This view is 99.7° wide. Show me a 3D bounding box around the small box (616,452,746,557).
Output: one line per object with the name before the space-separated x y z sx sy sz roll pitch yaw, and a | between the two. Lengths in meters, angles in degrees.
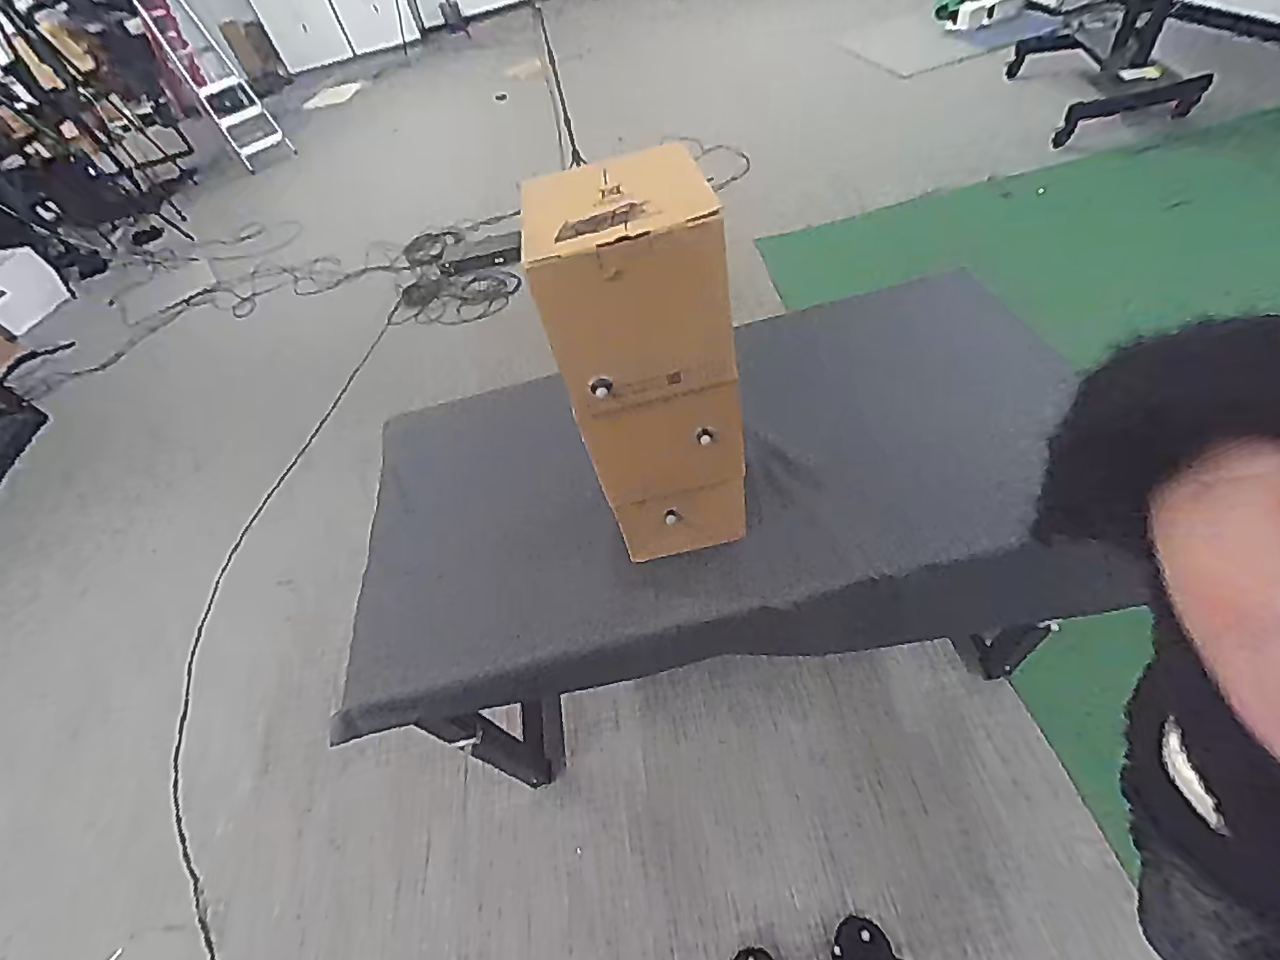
small box | 0.051 -0.007 0.808 0.179 0.176 0.168 -15 49 1

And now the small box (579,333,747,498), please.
small box | 0.022 -0.104 0.657 0.179 0.176 0.168 -15 50 0

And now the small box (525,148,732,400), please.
small box | -0.009 -0.196 0.544 0.168 0.176 0.179 -13 48 2
